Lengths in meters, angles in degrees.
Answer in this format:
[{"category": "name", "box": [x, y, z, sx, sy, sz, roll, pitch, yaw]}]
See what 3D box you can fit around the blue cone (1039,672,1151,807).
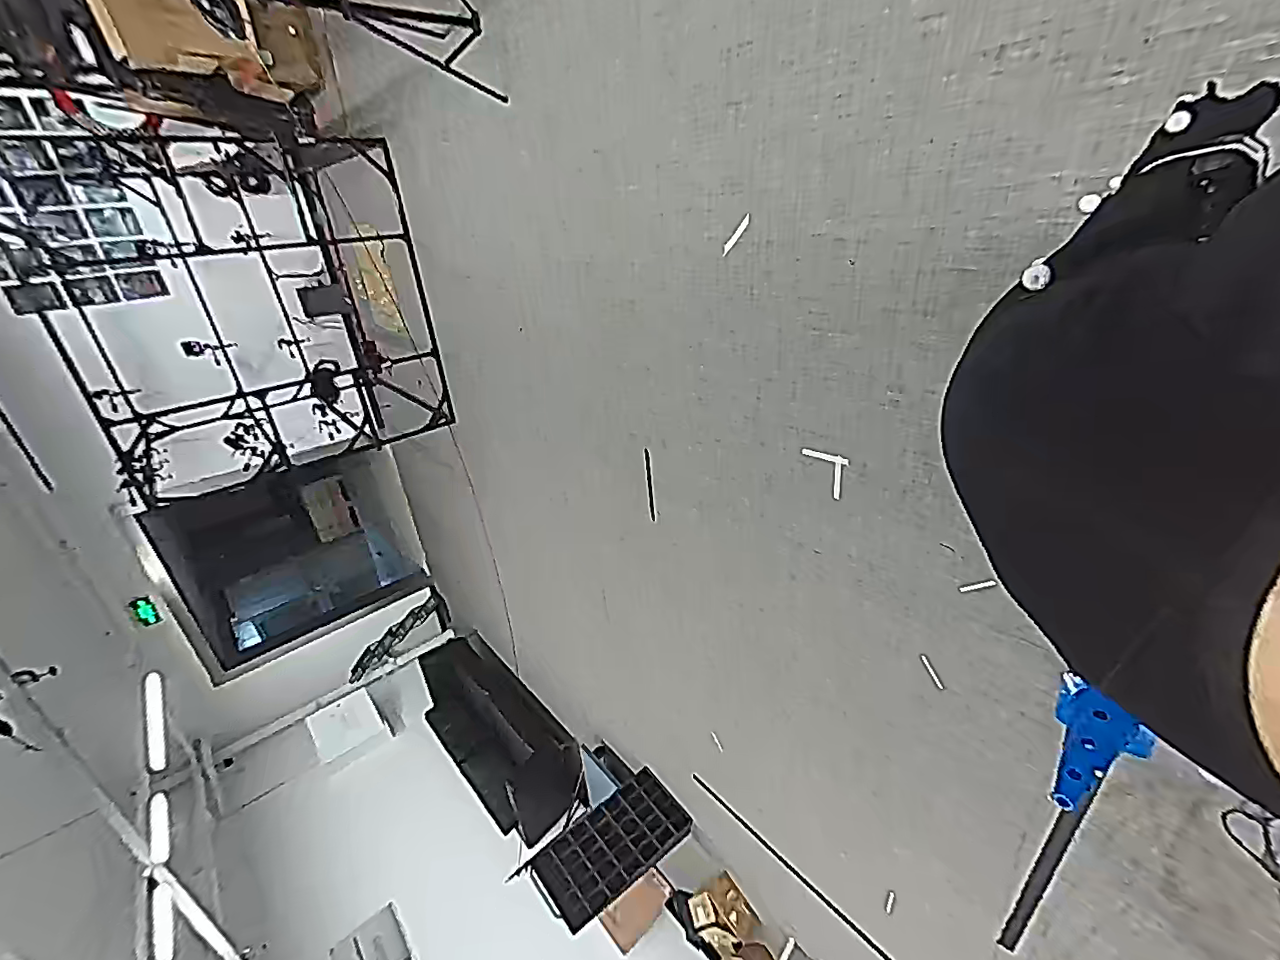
[{"category": "blue cone", "box": [1.081, 0.671, 1.330, 0.192, 0.380, 0.193, 21, 126, 47]}]
